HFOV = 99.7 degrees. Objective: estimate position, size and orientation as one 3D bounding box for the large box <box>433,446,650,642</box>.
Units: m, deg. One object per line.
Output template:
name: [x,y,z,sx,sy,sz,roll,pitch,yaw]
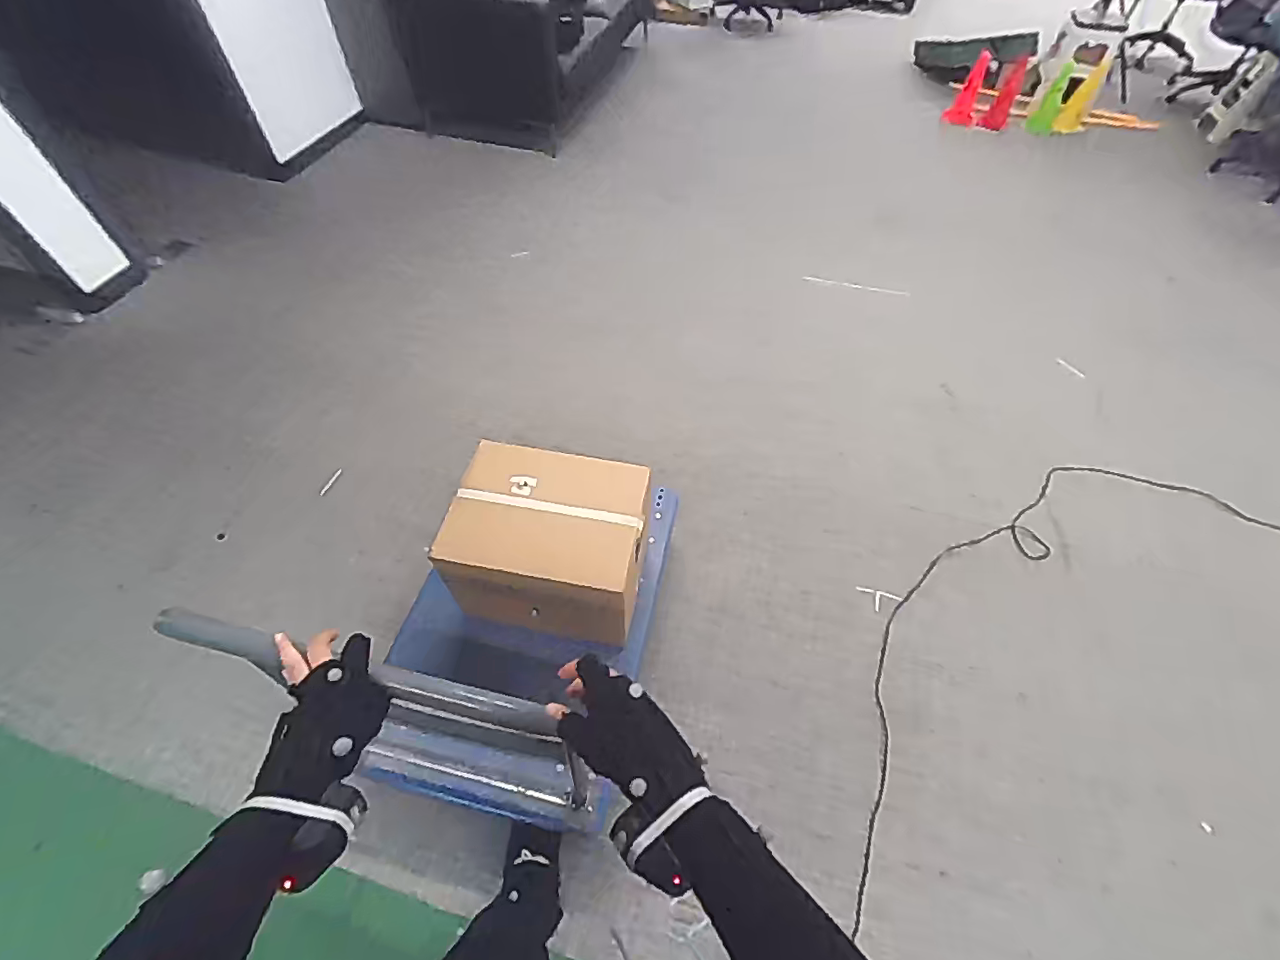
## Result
large box: [-0.195,0.156,1.276,0.408,0.320,0.320,9,53,7]
